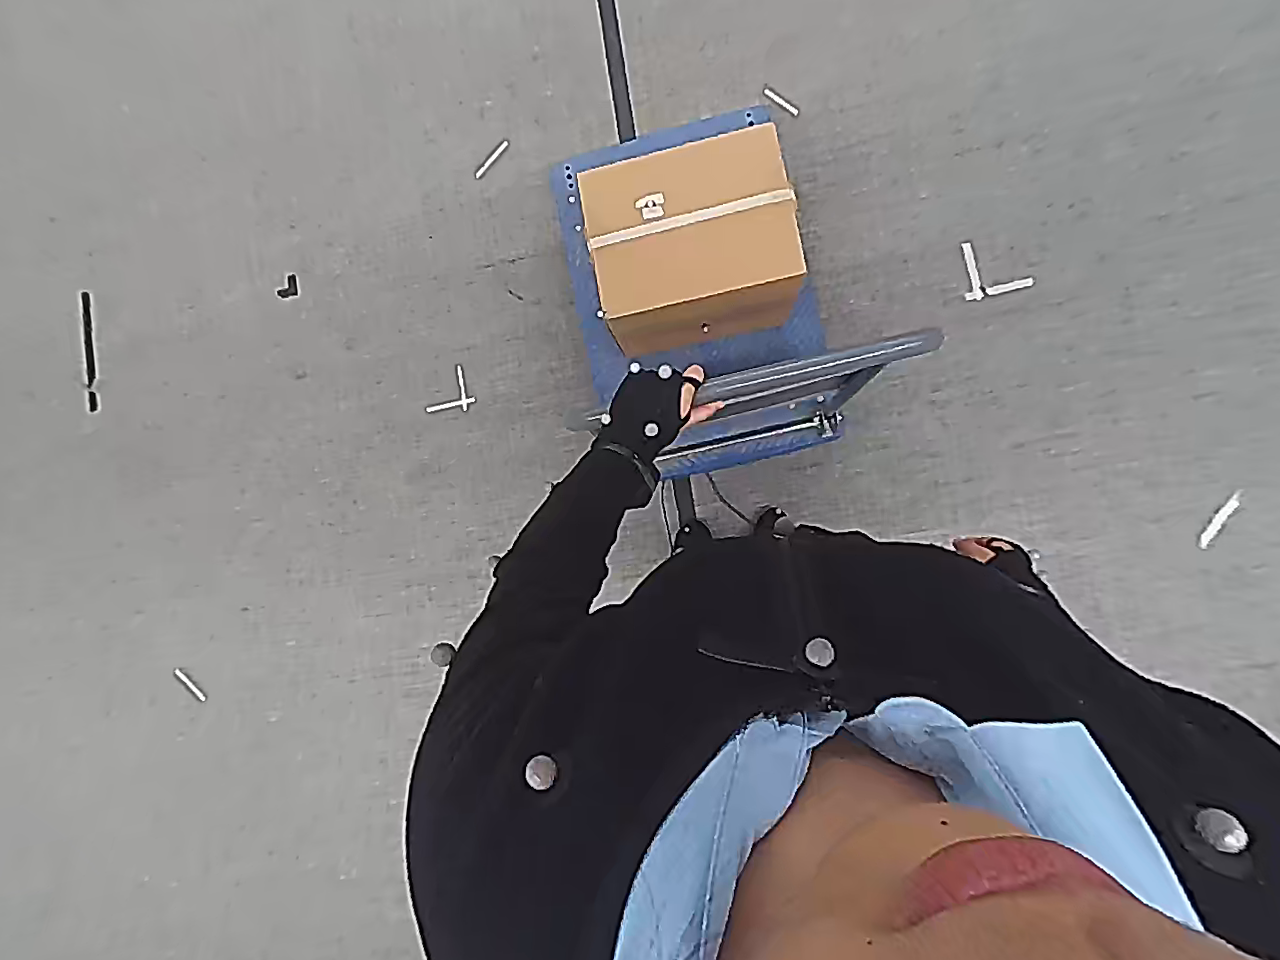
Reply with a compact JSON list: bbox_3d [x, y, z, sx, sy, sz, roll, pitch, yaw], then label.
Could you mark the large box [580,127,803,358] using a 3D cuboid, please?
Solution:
[{"bbox_3d":[0.117,-0.504,1.227,0.408,0.320,0.320,-12,85,8],"label":"large box"}]
